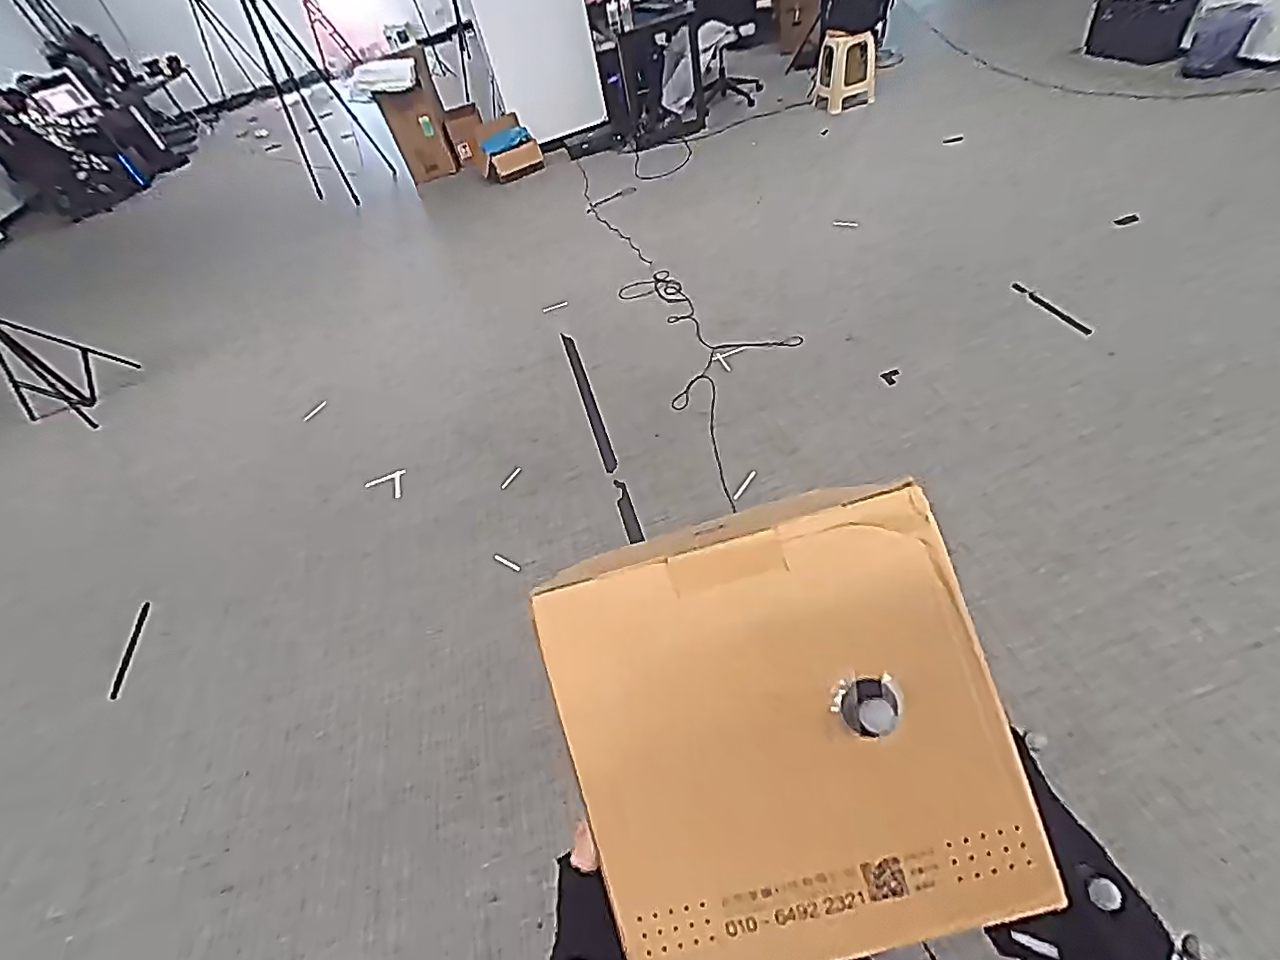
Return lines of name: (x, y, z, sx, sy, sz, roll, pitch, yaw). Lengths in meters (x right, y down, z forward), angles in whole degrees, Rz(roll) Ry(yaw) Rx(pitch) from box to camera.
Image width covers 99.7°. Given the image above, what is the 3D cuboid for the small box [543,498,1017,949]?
small box: (0.066, 0.116, 0.308, 0.168, 0.179, 0.176, -17, 86, 5)
